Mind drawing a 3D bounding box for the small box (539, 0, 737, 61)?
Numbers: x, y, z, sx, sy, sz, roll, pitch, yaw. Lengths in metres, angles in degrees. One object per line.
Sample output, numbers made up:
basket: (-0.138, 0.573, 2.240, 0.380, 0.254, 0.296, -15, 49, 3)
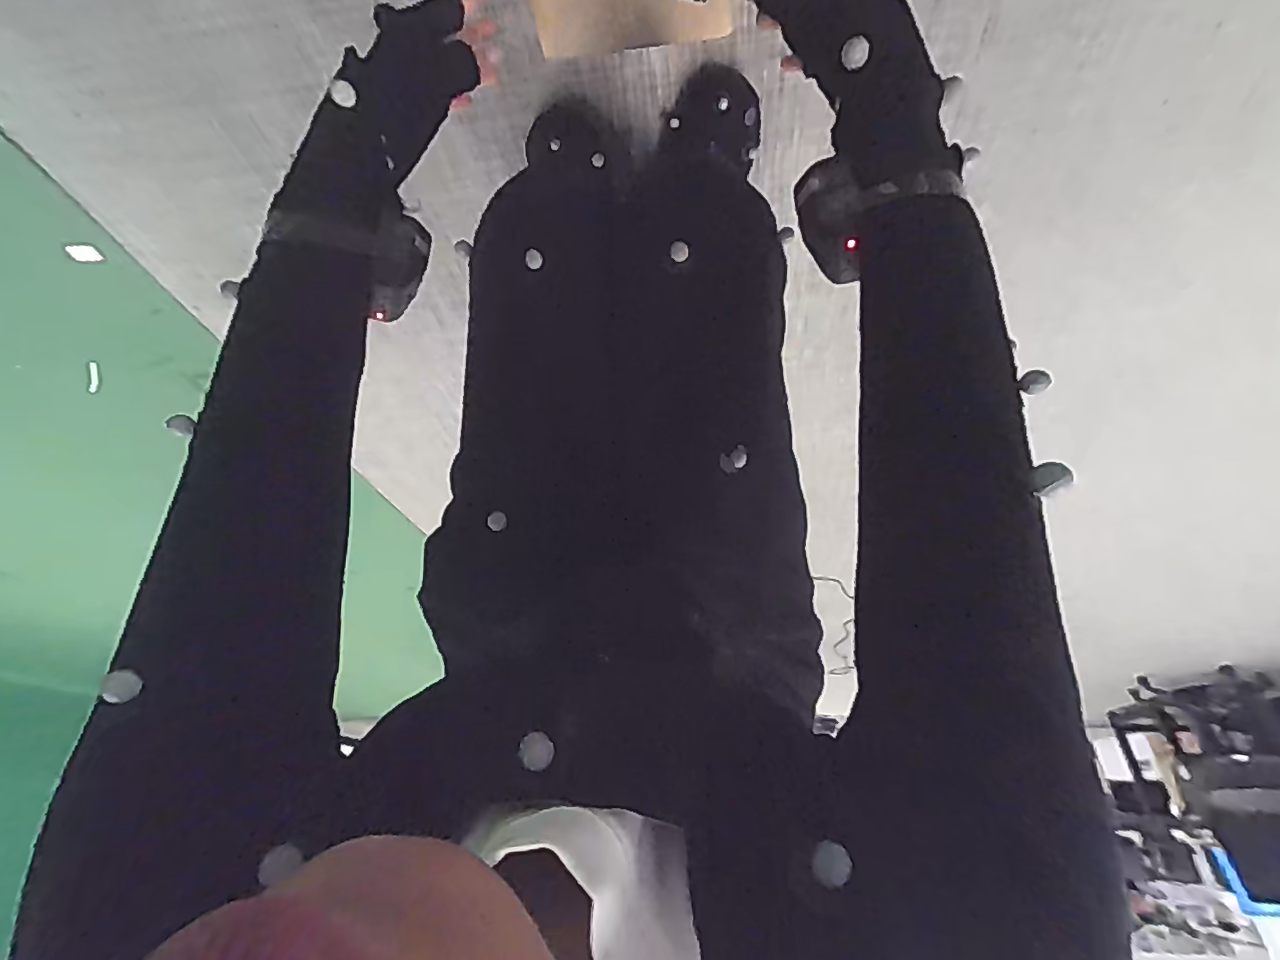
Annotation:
small box: (-0.006, -0.513, 0.481, 0.179, 0.176, 0.168, -2, 147, 7)
